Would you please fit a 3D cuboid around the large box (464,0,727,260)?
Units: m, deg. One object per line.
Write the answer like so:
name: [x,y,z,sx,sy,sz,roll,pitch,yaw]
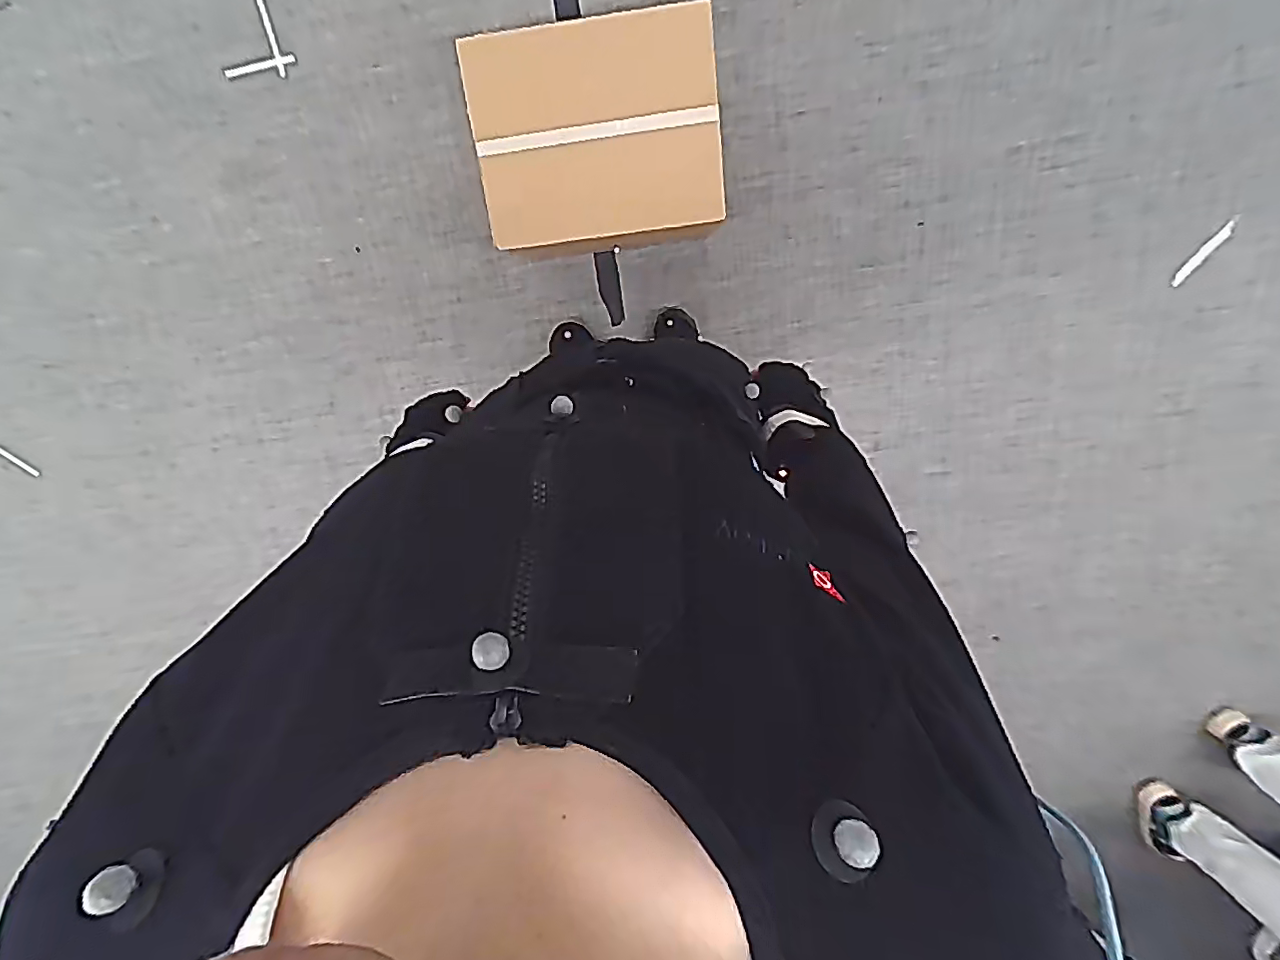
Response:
large box: [-0.065,-0.621,1.034,0.408,0.320,0.320,-6,109,3]
